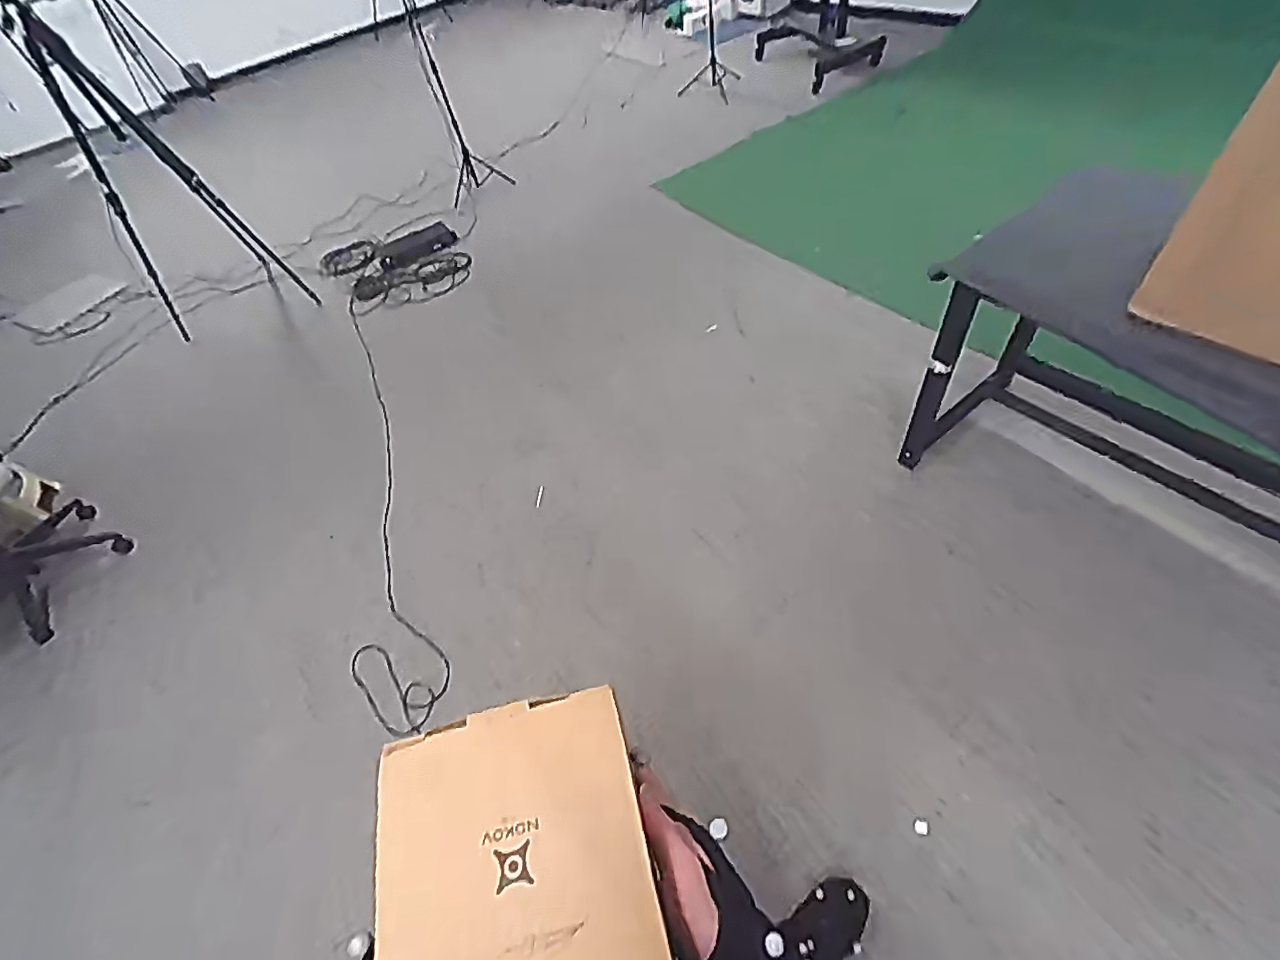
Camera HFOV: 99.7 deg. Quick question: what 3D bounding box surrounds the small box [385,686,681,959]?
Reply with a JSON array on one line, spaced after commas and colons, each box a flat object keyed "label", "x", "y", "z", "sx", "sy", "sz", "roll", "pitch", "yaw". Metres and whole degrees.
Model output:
[{"label": "small box", "x": -0.071, "y": 0.279, "z": 0.398, "sx": 0.168, "sy": 0.176, "sz": 0.179, "roll": -13, "pitch": 56, "yaw": -7}]
